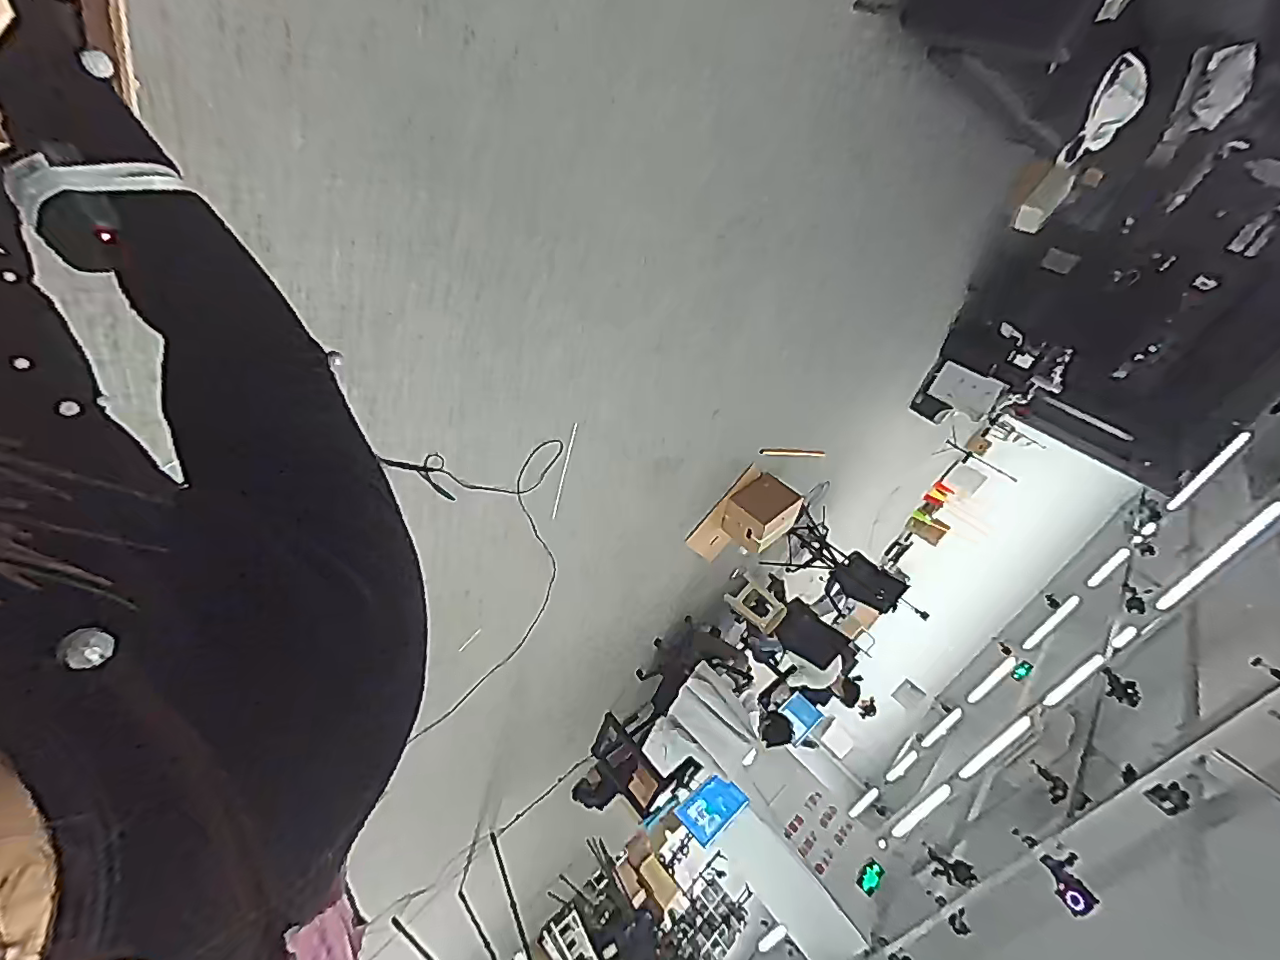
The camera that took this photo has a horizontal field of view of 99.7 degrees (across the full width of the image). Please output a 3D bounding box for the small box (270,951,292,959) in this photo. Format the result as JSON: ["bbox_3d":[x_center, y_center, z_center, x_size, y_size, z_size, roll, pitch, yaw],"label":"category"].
[{"bbox_3d":[-0.915,1.298,1.301,0.179,0.176,0.168,-17,138,-41],"label":"small box"}]
